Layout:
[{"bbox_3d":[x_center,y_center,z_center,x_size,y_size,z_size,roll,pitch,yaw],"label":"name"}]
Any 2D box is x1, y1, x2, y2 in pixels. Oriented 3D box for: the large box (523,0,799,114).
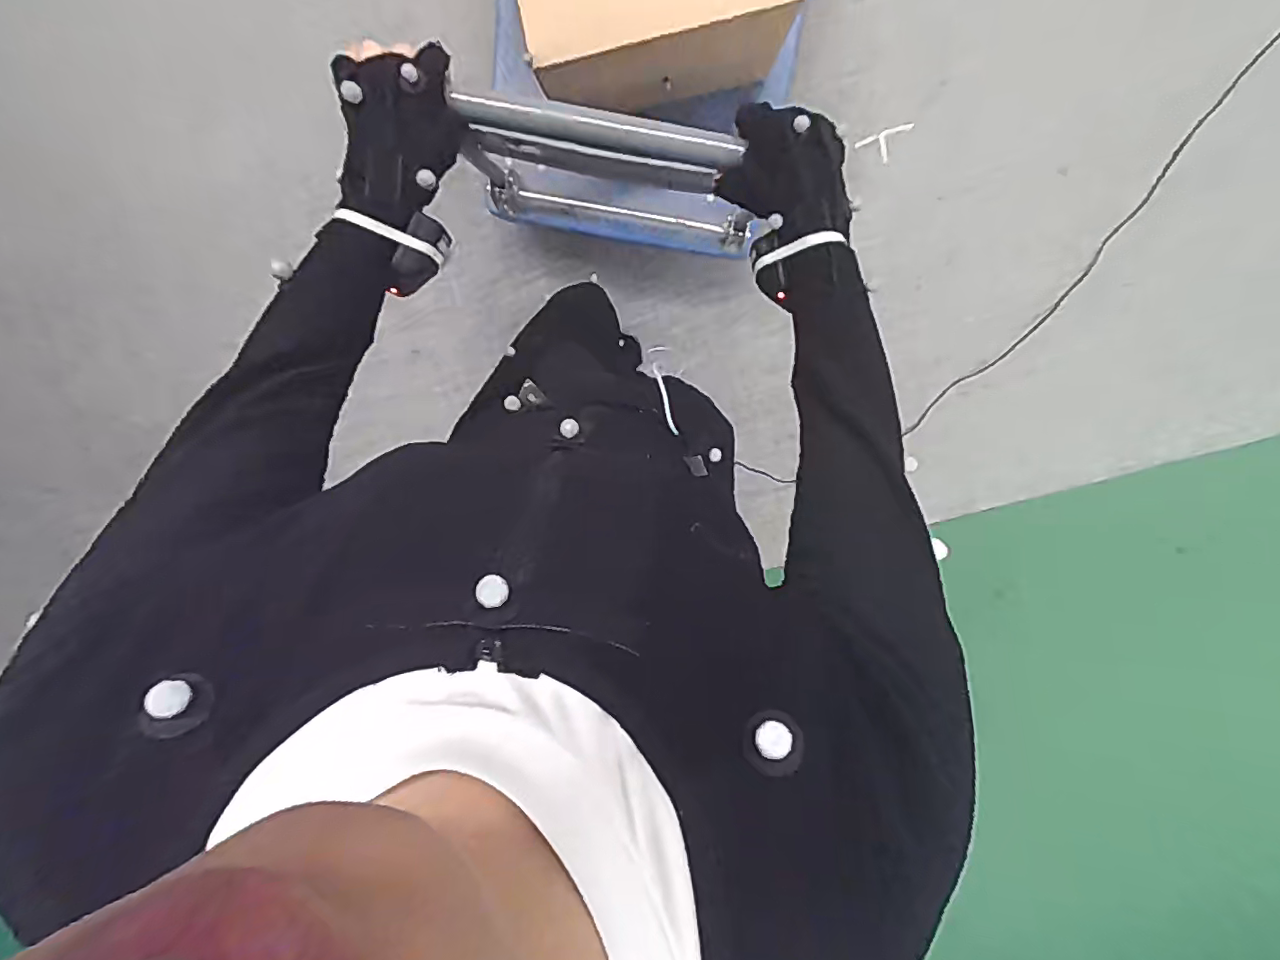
[{"bbox_3d":[0.019,-0.848,0.866,0.408,0.320,0.320,-10,108,6],"label":"large box"}]
